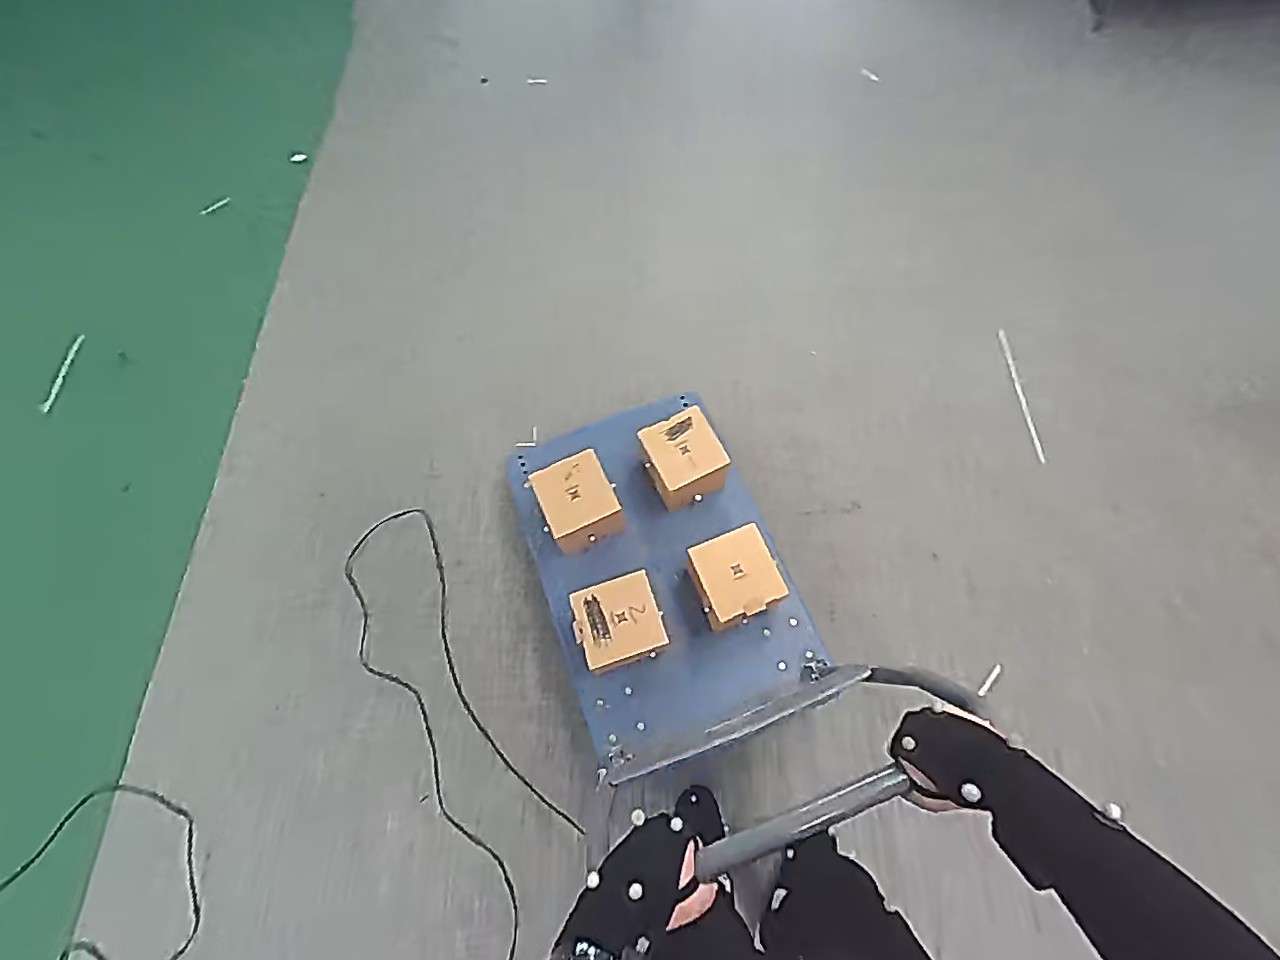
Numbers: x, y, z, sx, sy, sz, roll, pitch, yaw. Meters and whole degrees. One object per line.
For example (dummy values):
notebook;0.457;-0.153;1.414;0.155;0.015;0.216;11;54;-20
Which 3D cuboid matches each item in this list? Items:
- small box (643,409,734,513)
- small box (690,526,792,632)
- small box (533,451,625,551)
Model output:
small box;0.114;-0.043;1.353;0.168;0.176;0.179;-24;69;-7
small box;0.221;0.233;1.241;0.168;0.176;0.179;-21;69;-5
small box;-0.142;0.061;1.323;0.168;0.176;0.179;-23;69;-8
